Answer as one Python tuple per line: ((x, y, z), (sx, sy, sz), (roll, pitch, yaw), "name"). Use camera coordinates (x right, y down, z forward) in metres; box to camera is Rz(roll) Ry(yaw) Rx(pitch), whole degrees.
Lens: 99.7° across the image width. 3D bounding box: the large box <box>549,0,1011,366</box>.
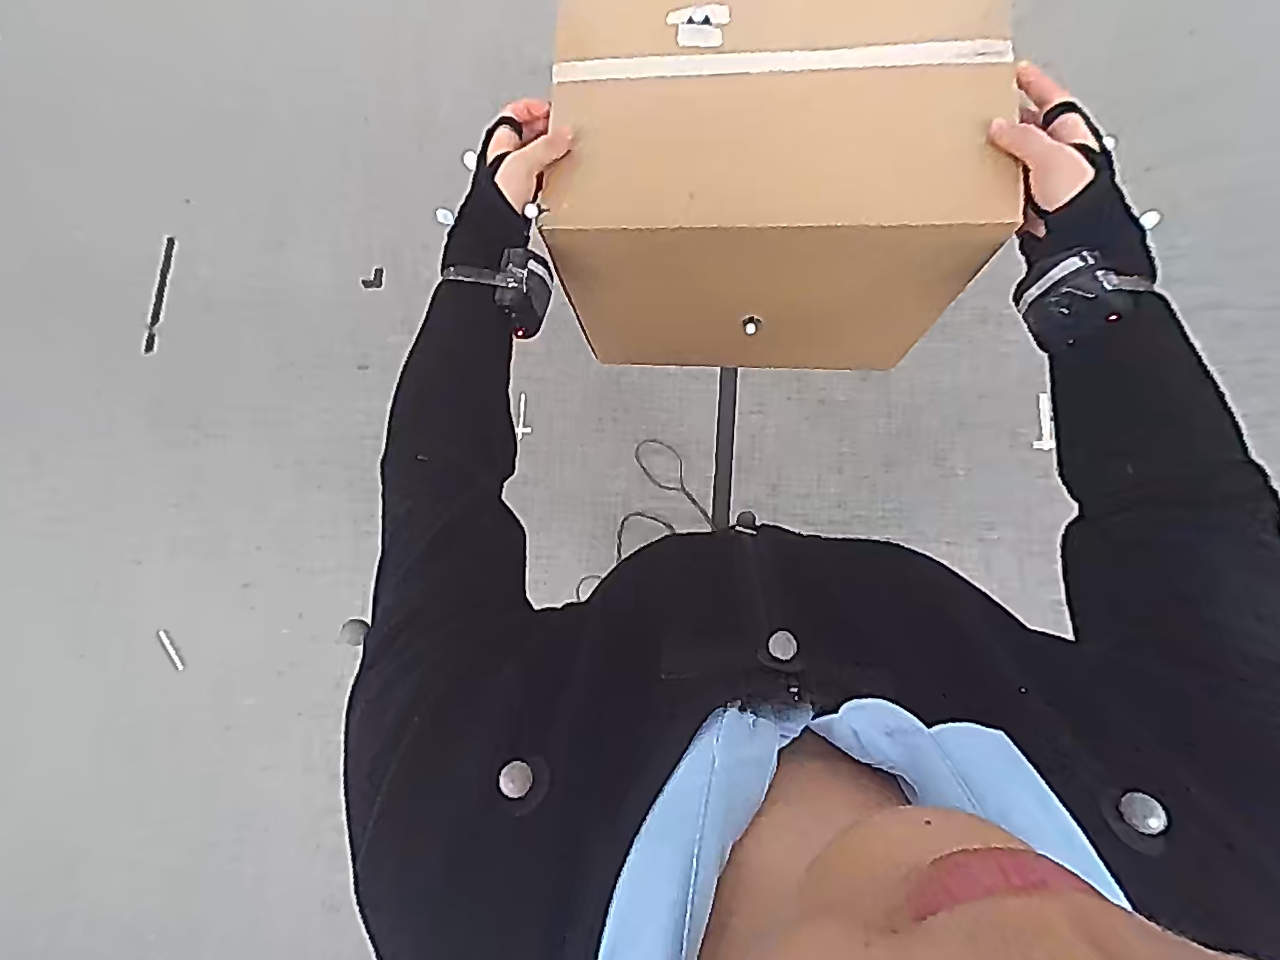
((0.136, -0.337, 0.643), (0.408, 0.320, 0.320), (1, 78, 7), "large box")
